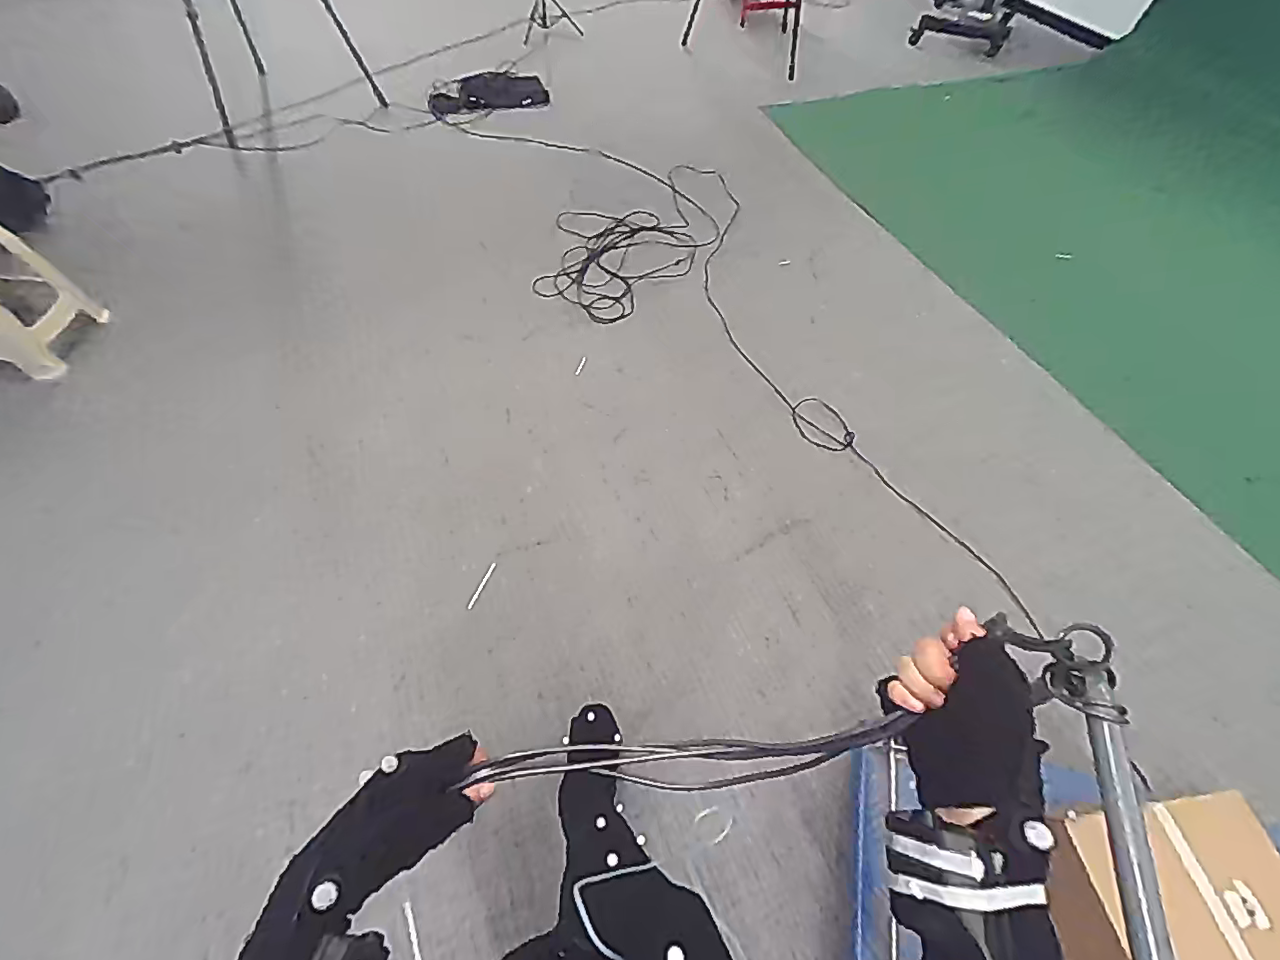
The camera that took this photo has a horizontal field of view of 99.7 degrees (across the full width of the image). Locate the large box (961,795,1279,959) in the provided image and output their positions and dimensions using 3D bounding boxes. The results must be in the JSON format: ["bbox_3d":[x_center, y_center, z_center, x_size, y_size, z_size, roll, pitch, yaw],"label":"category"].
[{"bbox_3d":[0.822,0.775,0.875,0.320,0.320,0.408,-5,55,-7],"label":"large box"}]
